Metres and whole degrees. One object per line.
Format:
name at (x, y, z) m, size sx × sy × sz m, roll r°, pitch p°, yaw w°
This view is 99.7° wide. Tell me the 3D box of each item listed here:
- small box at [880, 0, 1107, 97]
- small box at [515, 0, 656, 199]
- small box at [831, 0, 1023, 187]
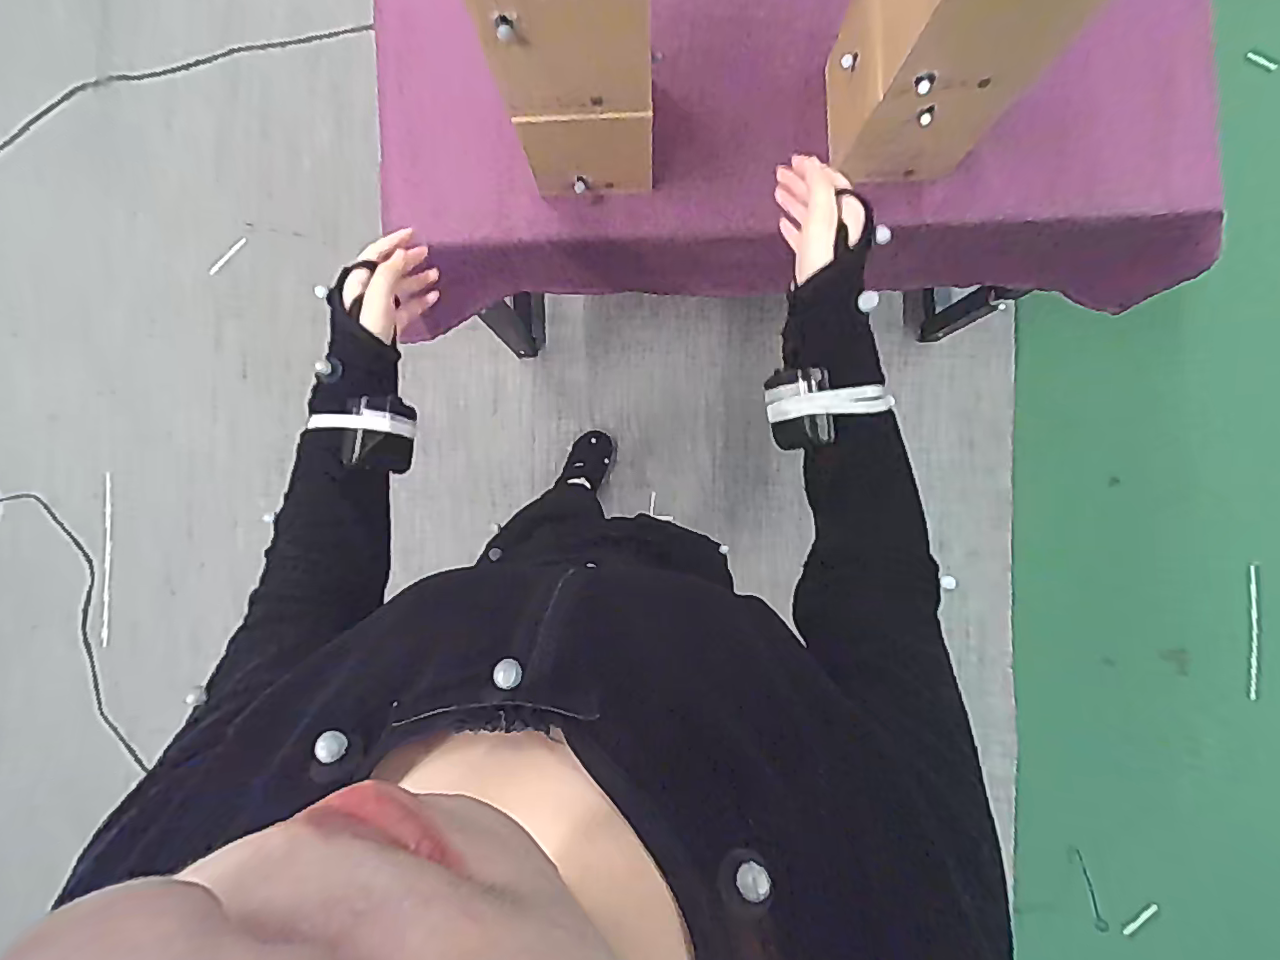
small box at (0.356, -0.518, 0.539) m, size 0.168 × 0.176 × 0.179 m, roll -2°, pitch 88°, yaw 0°
small box at (-0.063, -0.499, 0.709) m, size 0.168 × 0.176 × 0.179 m, roll -1°, pitch 90°, yaw 1°
small box at (0.356, -0.514, 0.703) m, size 0.168 × 0.176 × 0.179 m, roll -1°, pitch 88°, yaw 2°
